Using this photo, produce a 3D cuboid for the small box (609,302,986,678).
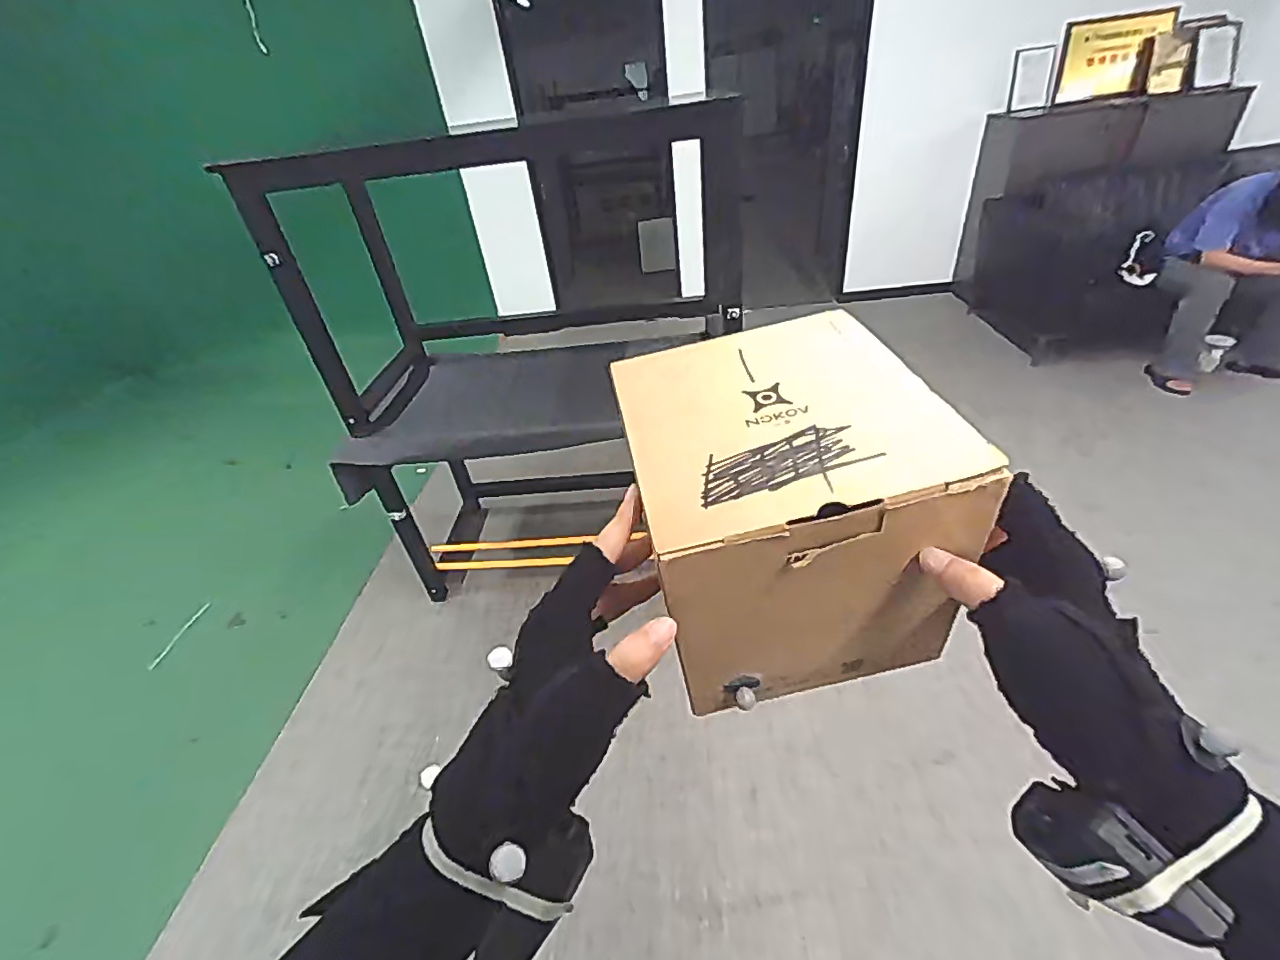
[{"bbox_3d":[0.083,0.011,0.361,0.168,0.176,0.179,-13,41,0],"label":"small box"}]
